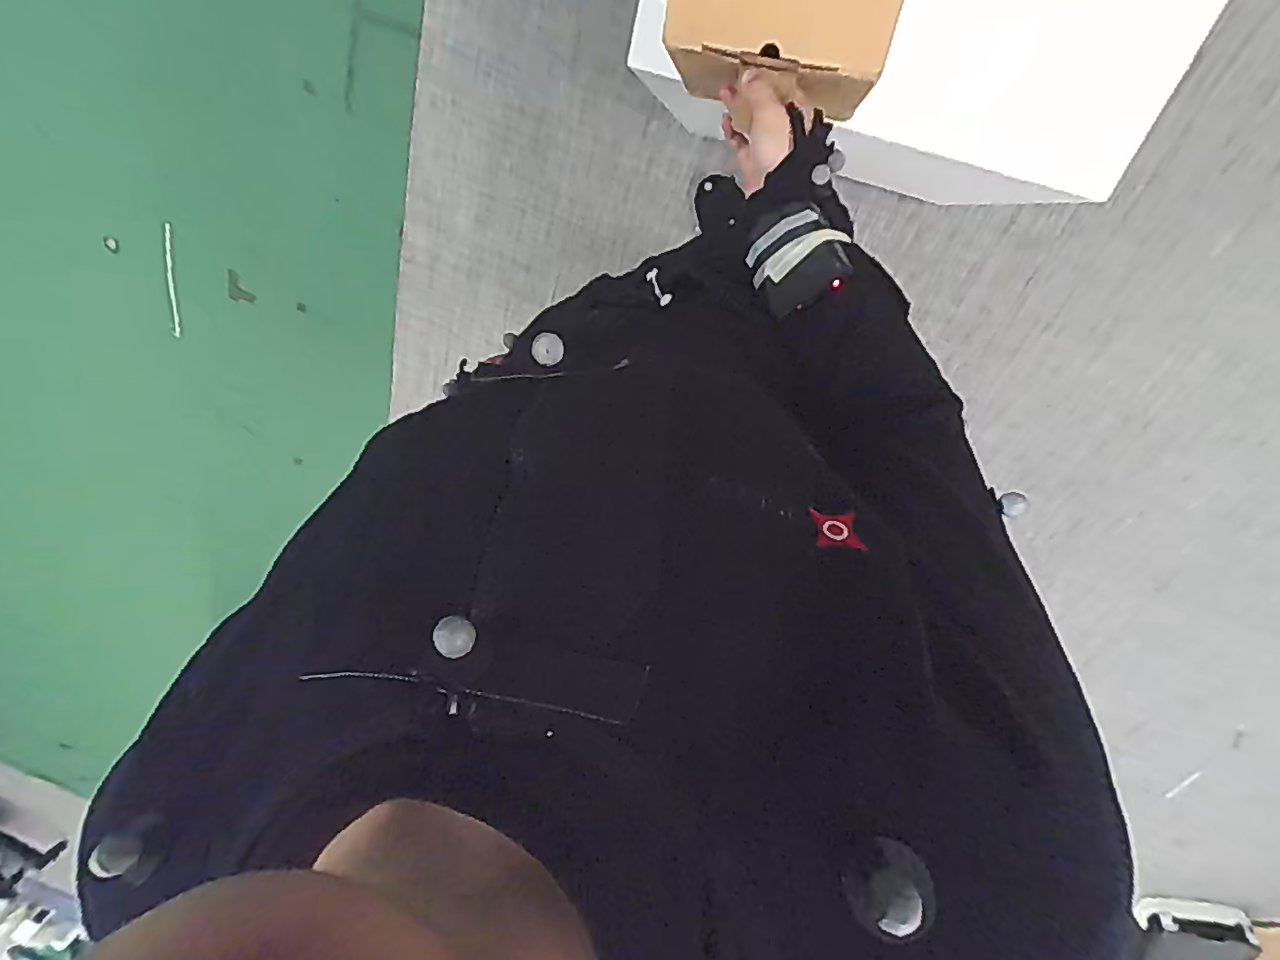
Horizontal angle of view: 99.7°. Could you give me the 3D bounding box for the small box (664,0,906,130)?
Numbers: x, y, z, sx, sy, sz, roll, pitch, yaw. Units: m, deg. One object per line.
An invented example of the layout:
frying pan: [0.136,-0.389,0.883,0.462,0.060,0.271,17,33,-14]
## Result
small box: [0.125,-0.410,0.437,0.168,0.176,0.179,14,117,6]
